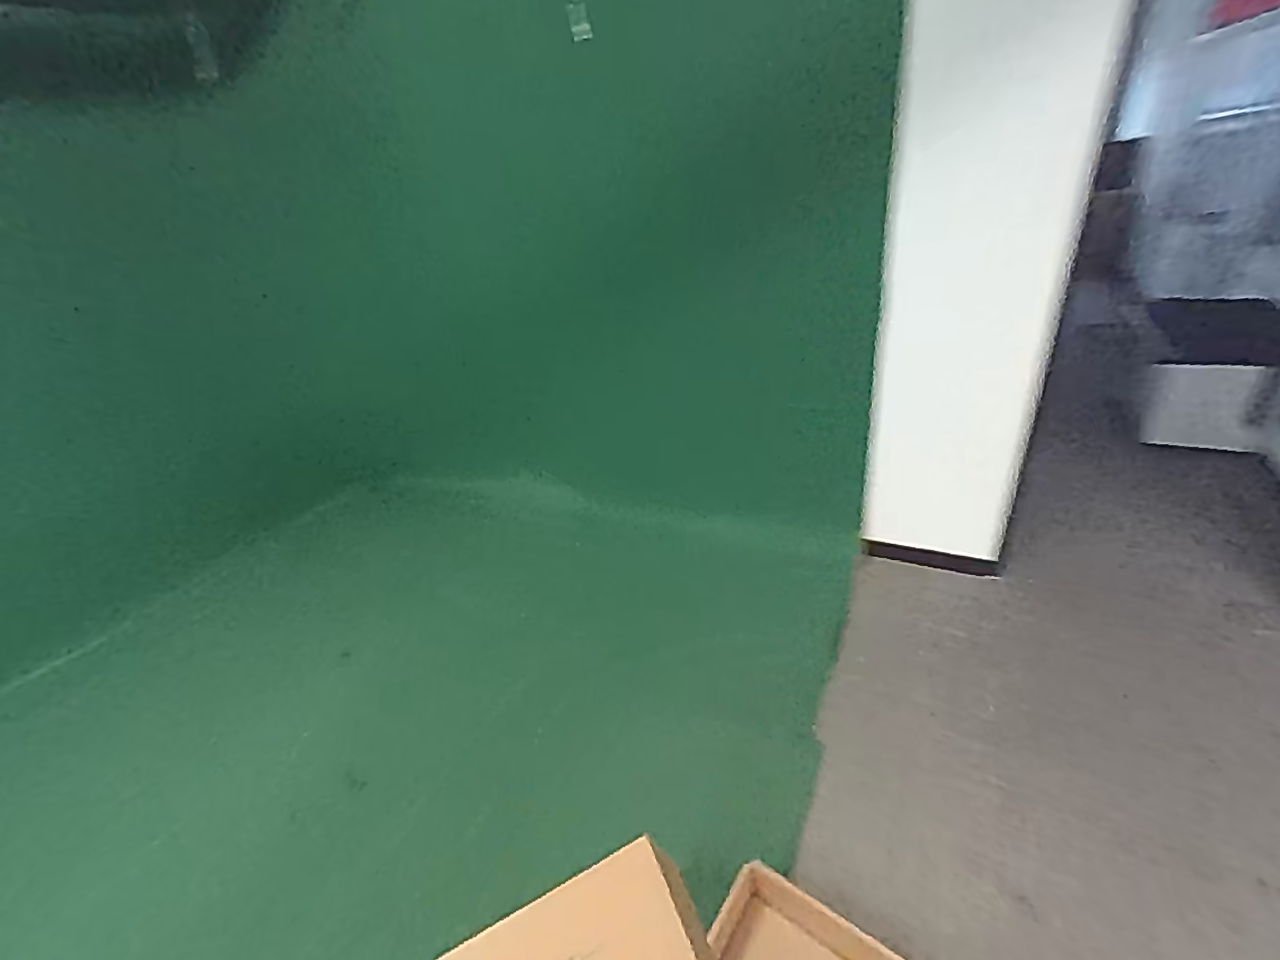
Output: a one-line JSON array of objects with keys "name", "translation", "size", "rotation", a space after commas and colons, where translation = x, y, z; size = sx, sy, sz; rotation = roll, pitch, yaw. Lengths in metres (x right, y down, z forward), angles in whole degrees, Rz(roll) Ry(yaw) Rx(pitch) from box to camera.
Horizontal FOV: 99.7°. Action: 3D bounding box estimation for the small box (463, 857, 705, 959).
[{"name": "small box", "translation": [-0.021, 0.406, 0.378], "size": [0.168, 0.176, 0.179], "rotation": [-25, 49, -10]}]
